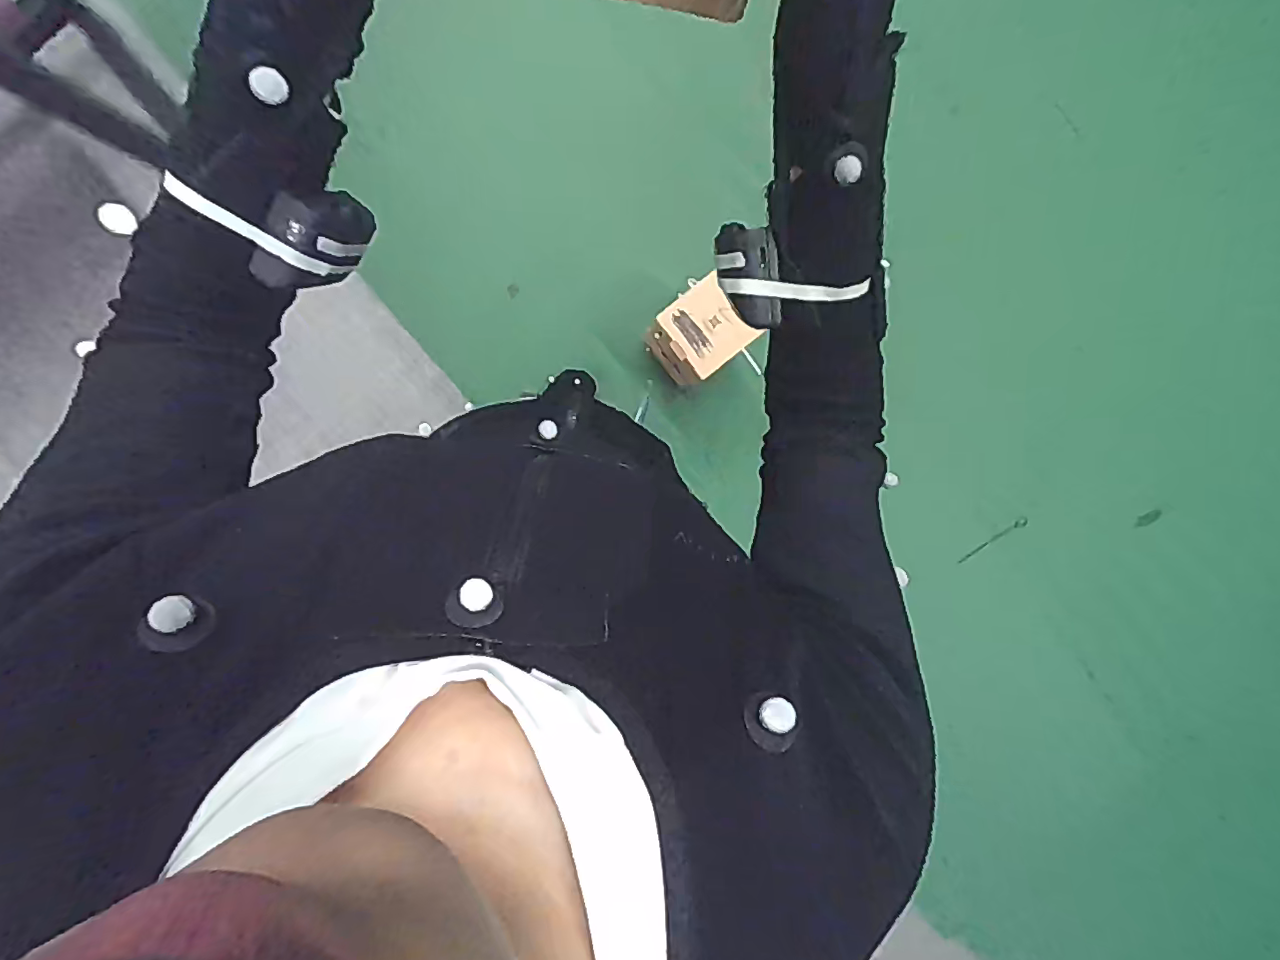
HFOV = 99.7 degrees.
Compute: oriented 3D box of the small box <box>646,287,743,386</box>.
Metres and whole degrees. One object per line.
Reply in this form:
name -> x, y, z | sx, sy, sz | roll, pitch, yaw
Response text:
small box -> 0.128, -0.351, 1.369 | 0.179, 0.176, 0.168 | -37, 98, 1
